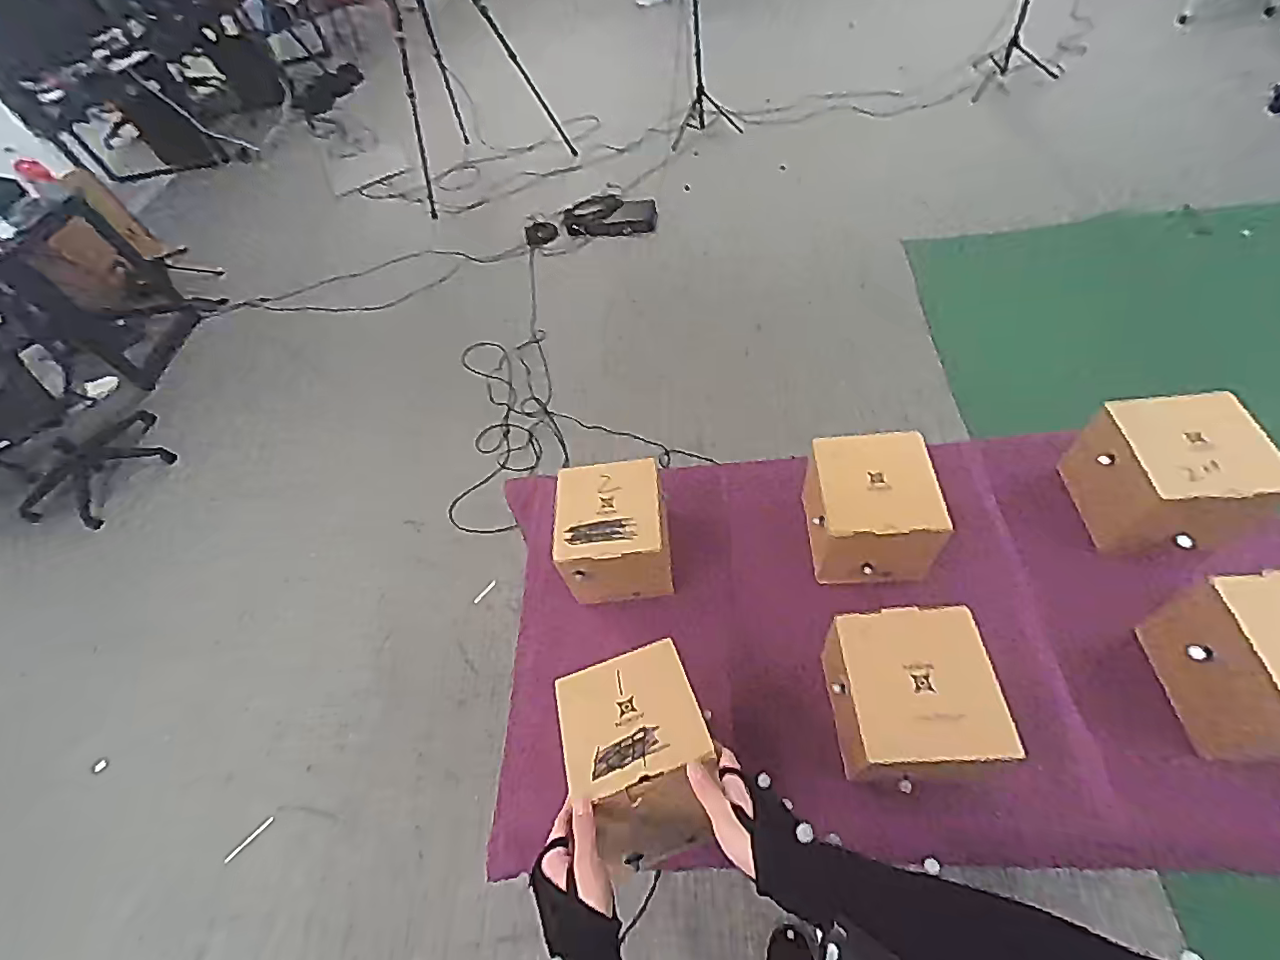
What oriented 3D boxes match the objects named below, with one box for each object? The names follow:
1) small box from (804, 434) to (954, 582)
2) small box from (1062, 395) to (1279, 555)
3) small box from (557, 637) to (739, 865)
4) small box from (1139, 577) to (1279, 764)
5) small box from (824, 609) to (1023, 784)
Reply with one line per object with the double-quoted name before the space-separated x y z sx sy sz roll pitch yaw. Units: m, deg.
"small box" 0.365 0.048 0.865 0.168 0.176 0.179 -3 56 8
"small box" 0.788 -0.002 0.816 0.168 0.176 0.179 -4 56 10
"small box" 0.009 0.339 0.674 0.168 0.176 0.179 -20 31 -5
"small box" 0.774 0.232 0.655 0.168 0.176 0.179 -3 53 9
"small box" 0.344 0.284 0.702 0.168 0.176 0.179 -5 54 8
